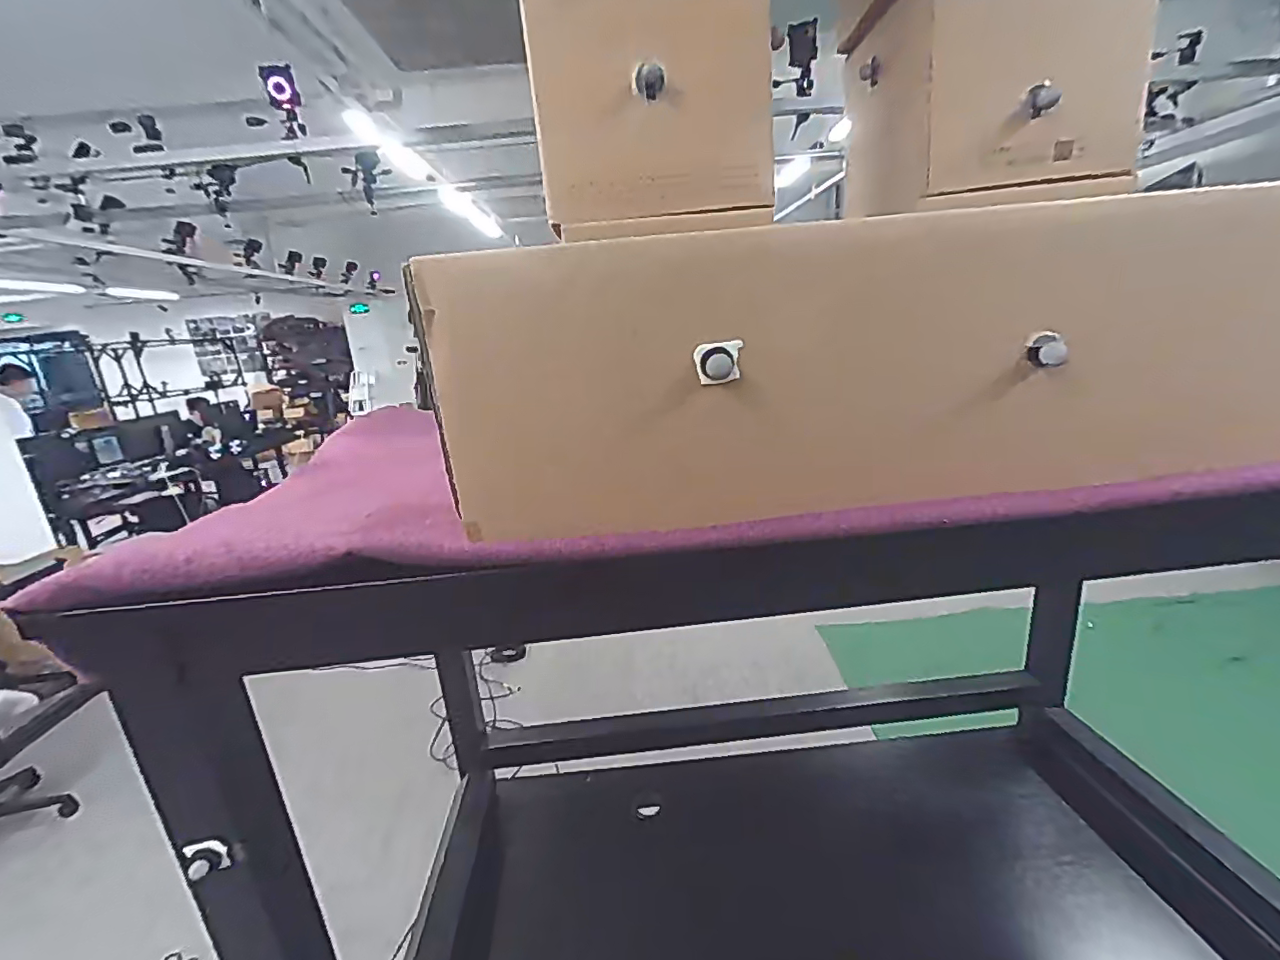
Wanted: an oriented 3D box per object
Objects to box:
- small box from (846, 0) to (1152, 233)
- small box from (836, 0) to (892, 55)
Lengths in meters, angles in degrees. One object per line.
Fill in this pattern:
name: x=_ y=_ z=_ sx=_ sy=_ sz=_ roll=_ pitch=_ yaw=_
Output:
small box: x=0.295 y=-0.331 z=0.485 sx=0.168 sy=0.176 sz=0.179 roll=-7 pitch=16 yaw=1
small box: x=0.265 y=-0.484 z=0.438 sx=0.168 sy=0.176 sz=0.179 roll=-6 pitch=16 yaw=2
